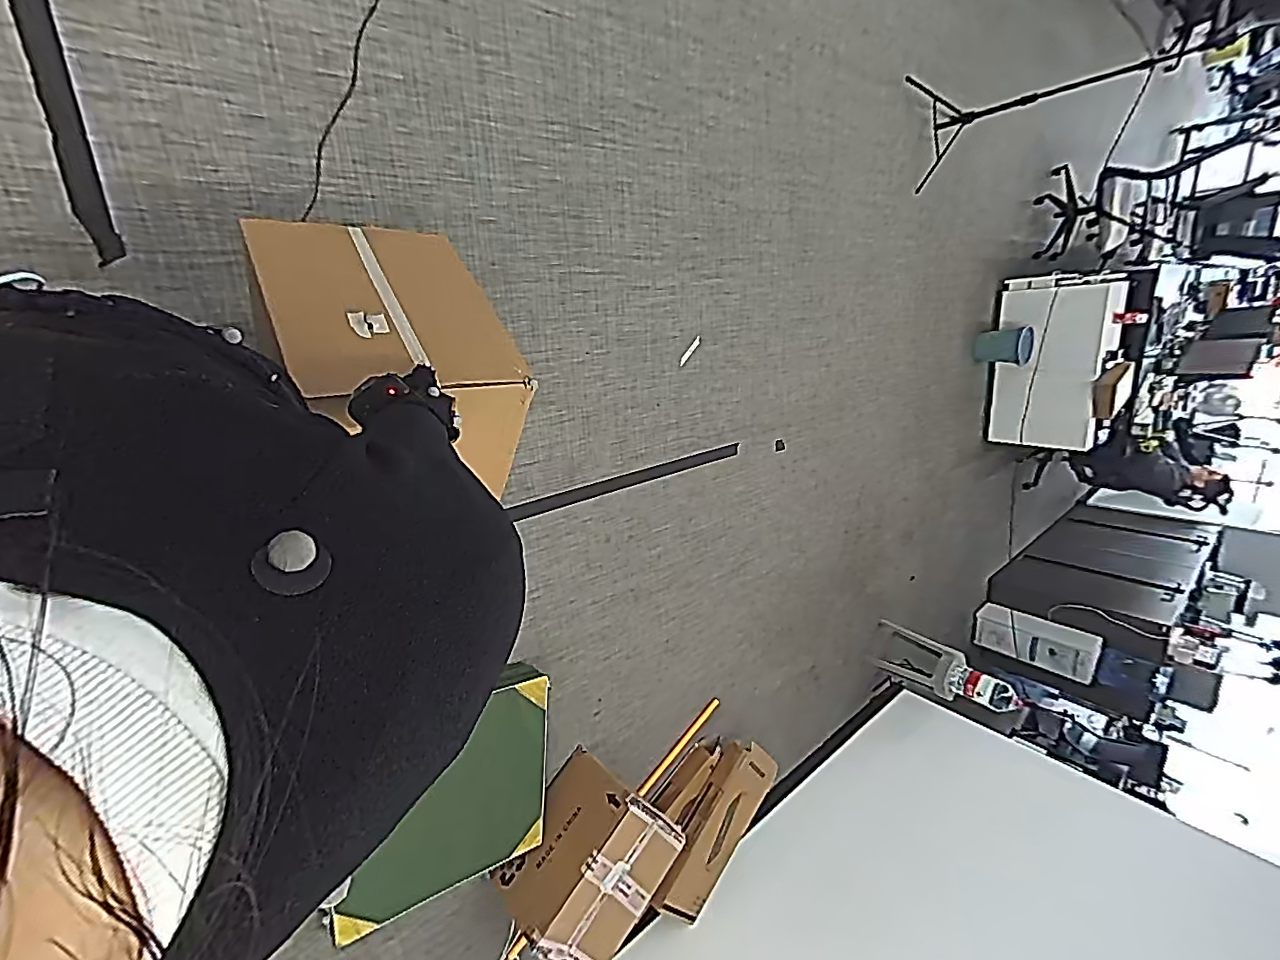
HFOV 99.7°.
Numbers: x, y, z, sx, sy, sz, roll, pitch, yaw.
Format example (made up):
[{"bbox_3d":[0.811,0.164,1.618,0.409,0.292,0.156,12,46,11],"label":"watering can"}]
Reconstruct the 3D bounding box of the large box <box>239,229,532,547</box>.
[{"bbox_3d":[-0.440,-0.160,0.916,0.320,0.408,0.320,-13,147,-37],"label":"large box"}]
